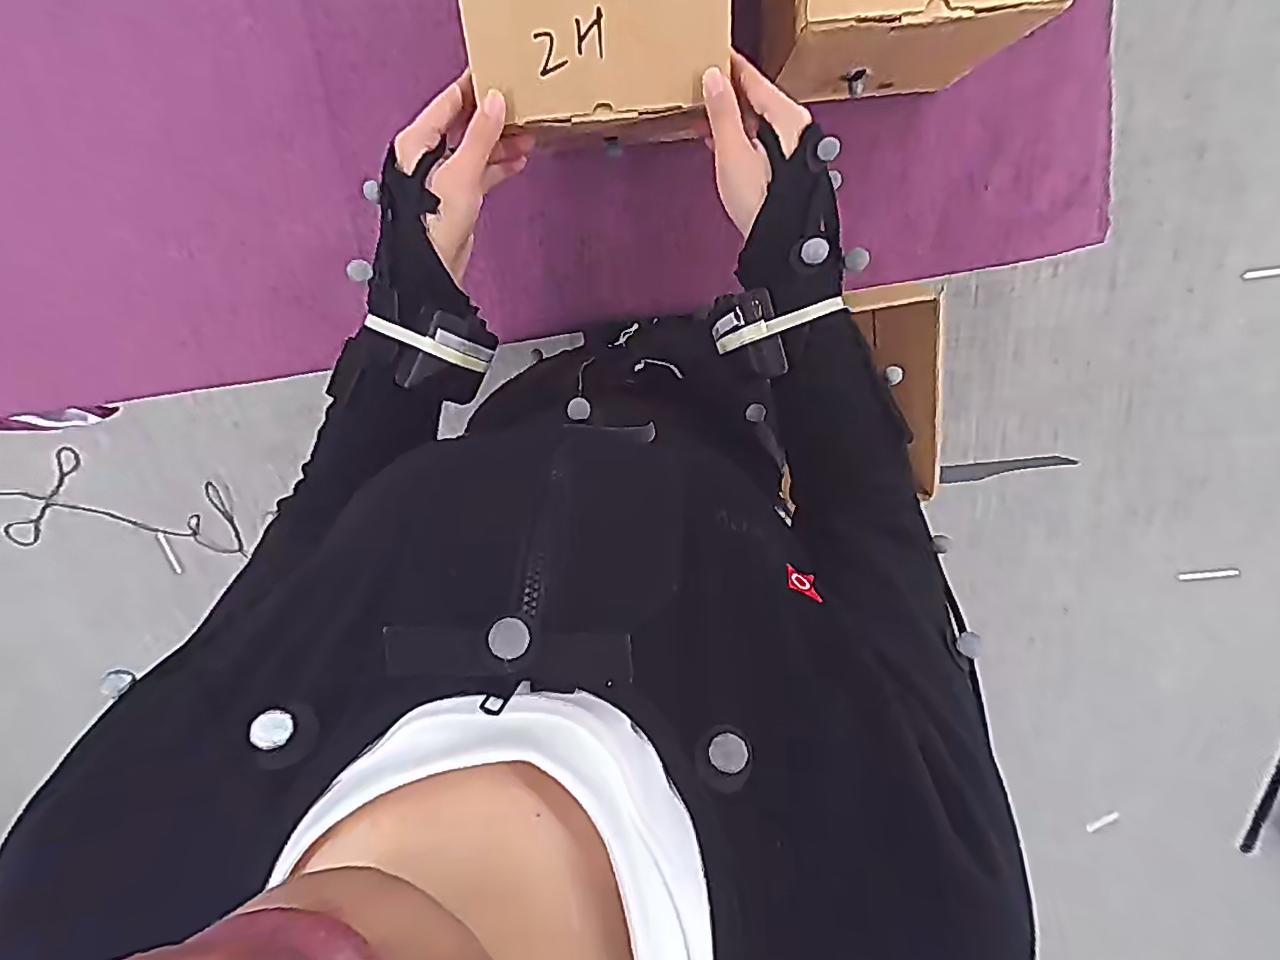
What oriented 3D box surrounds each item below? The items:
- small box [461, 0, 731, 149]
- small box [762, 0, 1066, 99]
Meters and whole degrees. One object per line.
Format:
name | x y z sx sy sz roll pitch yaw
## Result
small box | -0.027 -0.351 0.384 0.168 0.176 0.179 -3 117 4
small box | 0.182 -0.401 0.380 0.168 0.176 0.179 -3 111 4
